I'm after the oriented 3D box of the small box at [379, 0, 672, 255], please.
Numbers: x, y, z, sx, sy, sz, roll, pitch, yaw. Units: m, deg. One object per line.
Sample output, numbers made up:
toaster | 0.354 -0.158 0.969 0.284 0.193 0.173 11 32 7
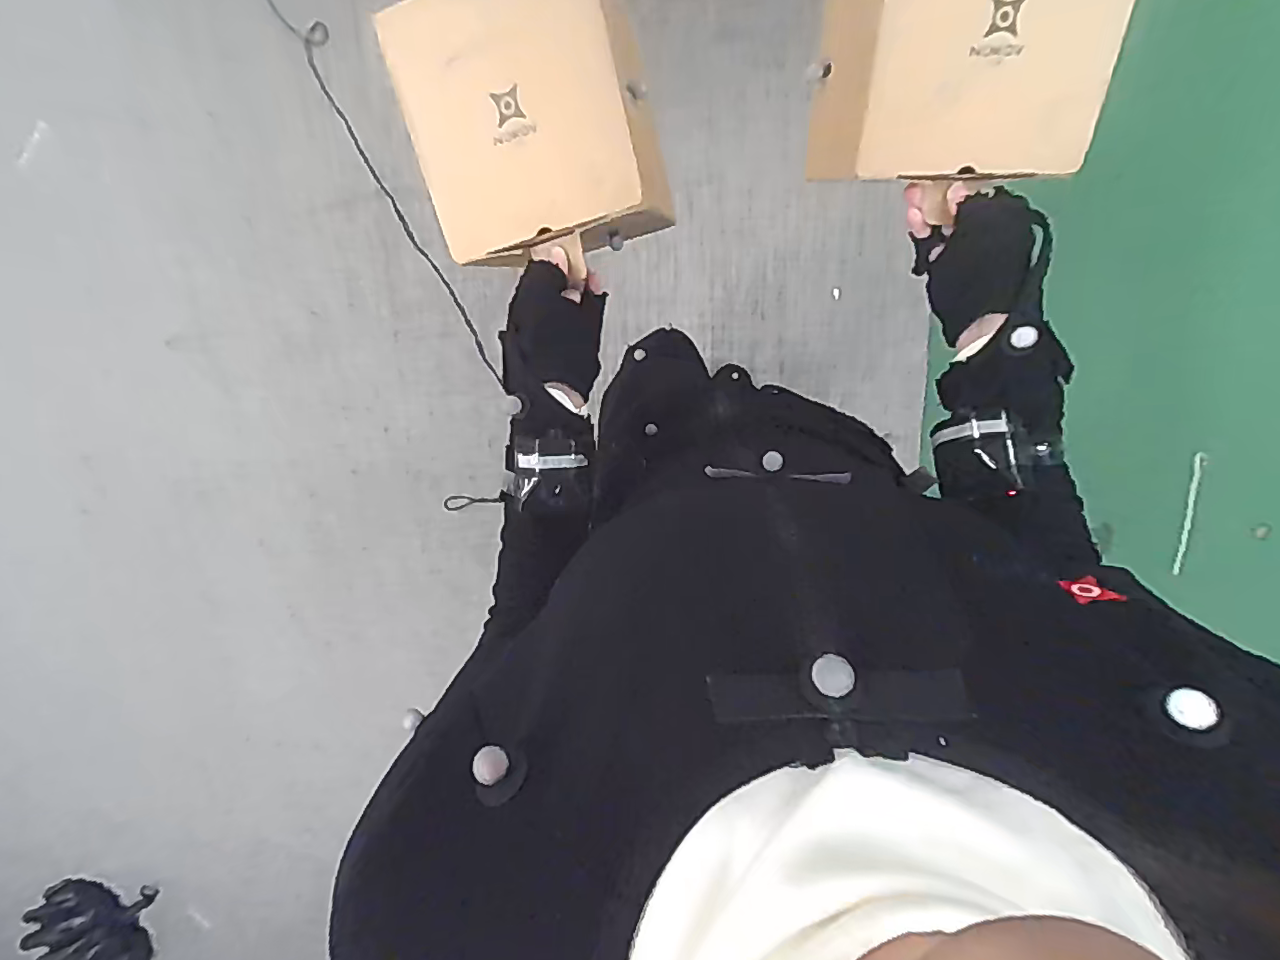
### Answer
small box | -0.076 -0.305 0.467 0.168 0.176 0.179 -11 107 15
